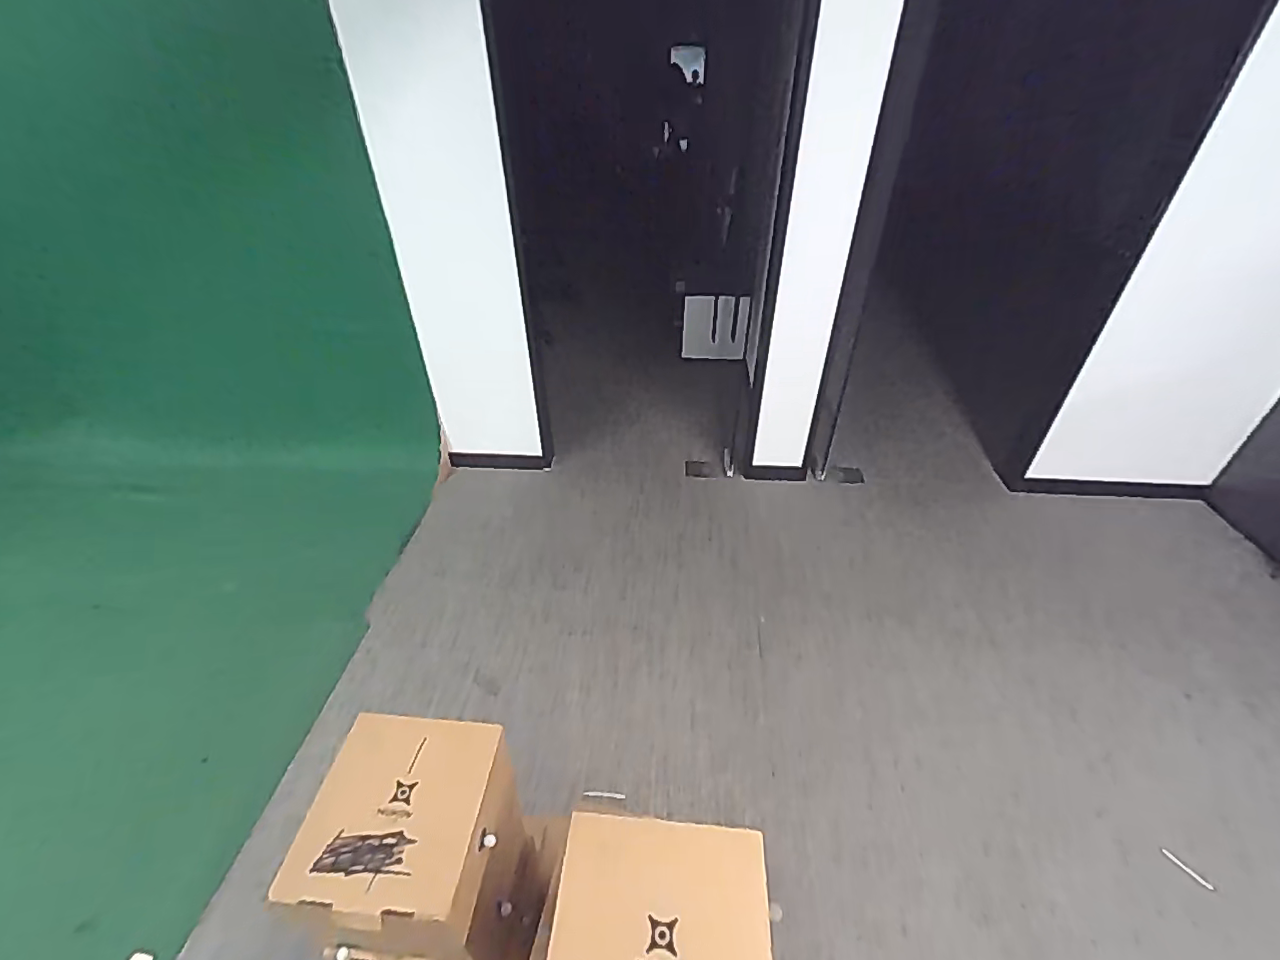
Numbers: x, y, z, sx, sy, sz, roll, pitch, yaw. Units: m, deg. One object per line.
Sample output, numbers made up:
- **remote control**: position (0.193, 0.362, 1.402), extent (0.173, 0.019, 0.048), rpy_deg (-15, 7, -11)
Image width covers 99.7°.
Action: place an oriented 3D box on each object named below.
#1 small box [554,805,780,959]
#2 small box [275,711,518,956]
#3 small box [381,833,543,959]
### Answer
- **small box**: position (0.020, 0.403, 0.445), extent (0.168, 0.176, 0.179), rpy_deg (2, 38, 4)
- **small box**: position (-0.237, 0.382, 0.586), extent (0.168, 0.176, 0.179), rpy_deg (4, 37, 2)
- **small box**: position (-0.244, 0.639, 0.791), extent (0.168, 0.176, 0.179), rpy_deg (5, 38, 4)
